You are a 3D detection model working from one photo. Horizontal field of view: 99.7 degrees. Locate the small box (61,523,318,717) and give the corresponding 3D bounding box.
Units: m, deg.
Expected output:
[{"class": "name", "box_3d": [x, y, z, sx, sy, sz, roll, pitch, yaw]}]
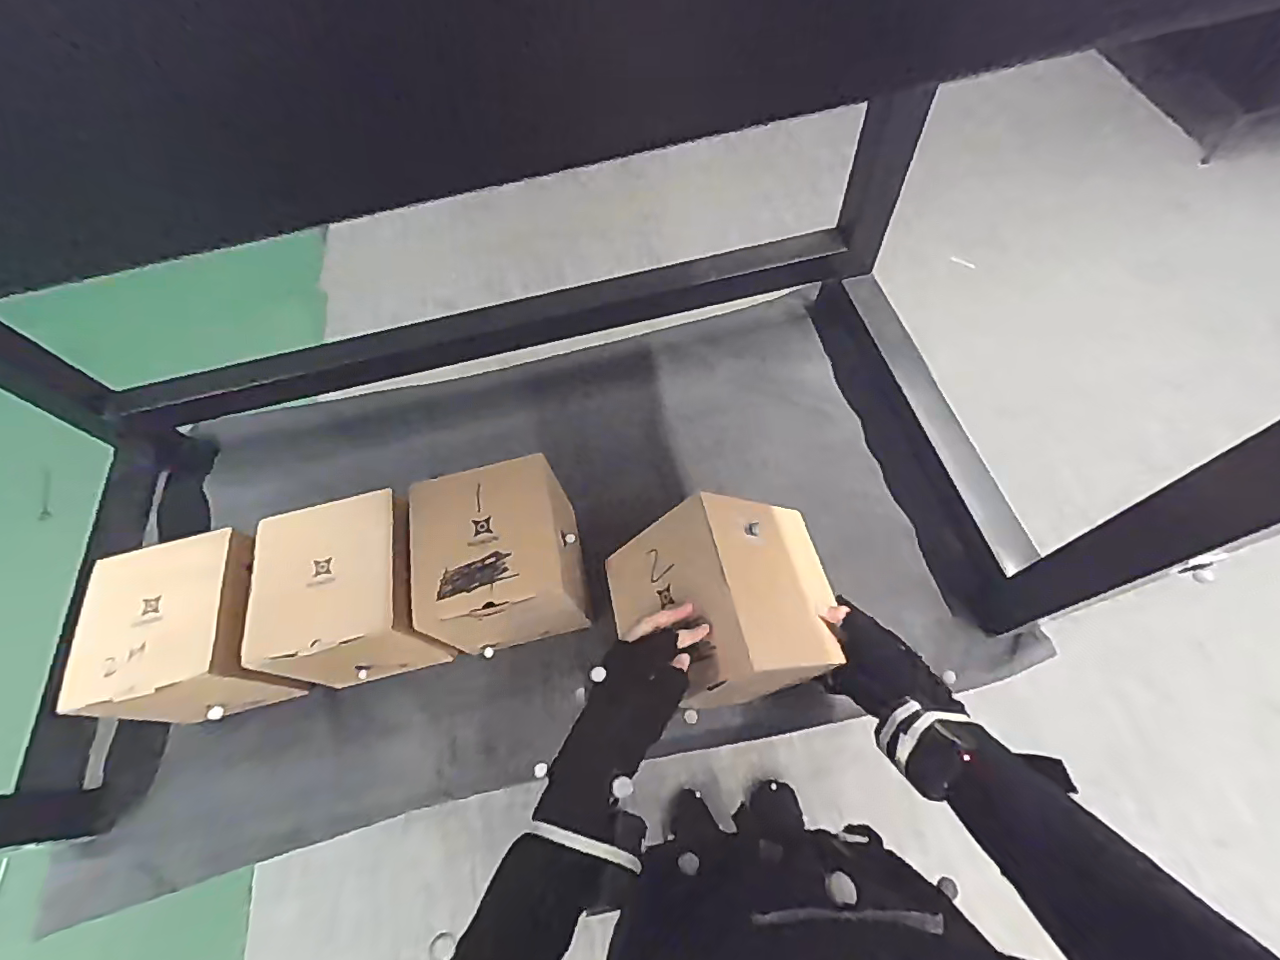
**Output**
[{"class": "small box", "box_3d": [-0.532, 0.180, 0.672, 0.168, 0.176, 0.179, -14, 62, 0]}]
